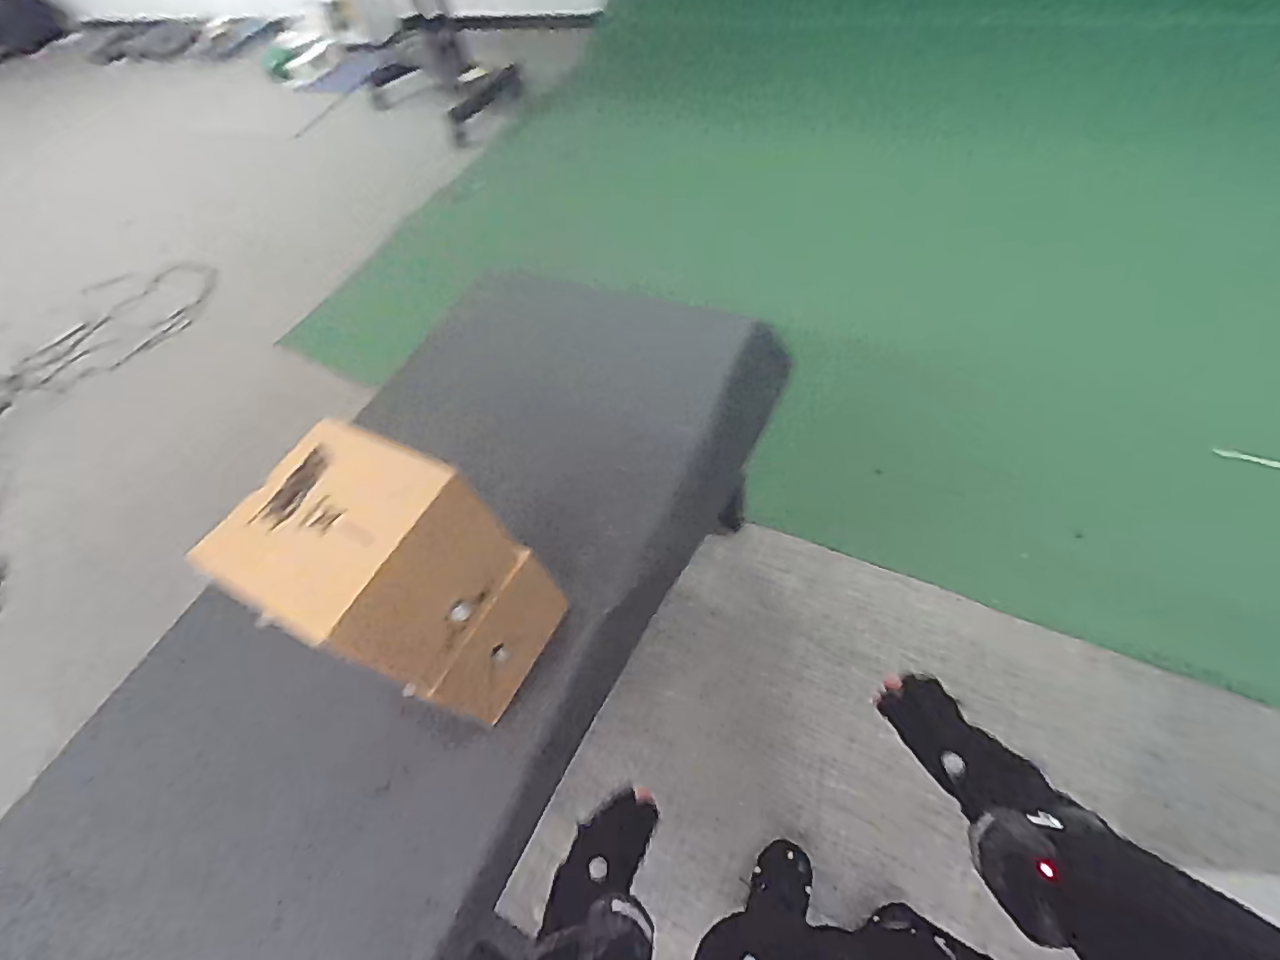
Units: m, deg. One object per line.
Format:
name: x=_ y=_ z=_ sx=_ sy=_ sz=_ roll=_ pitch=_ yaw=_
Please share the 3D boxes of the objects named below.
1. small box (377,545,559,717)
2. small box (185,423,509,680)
small box: x=-0.223 y=0.163 z=0.657 sx=0.168 sy=0.176 sz=0.179 roll=21 pitch=65 yaw=23
small box: x=-0.263 y=0.073 z=0.525 sx=0.179 sy=0.176 sz=0.168 roll=16 pitch=62 yaw=23
